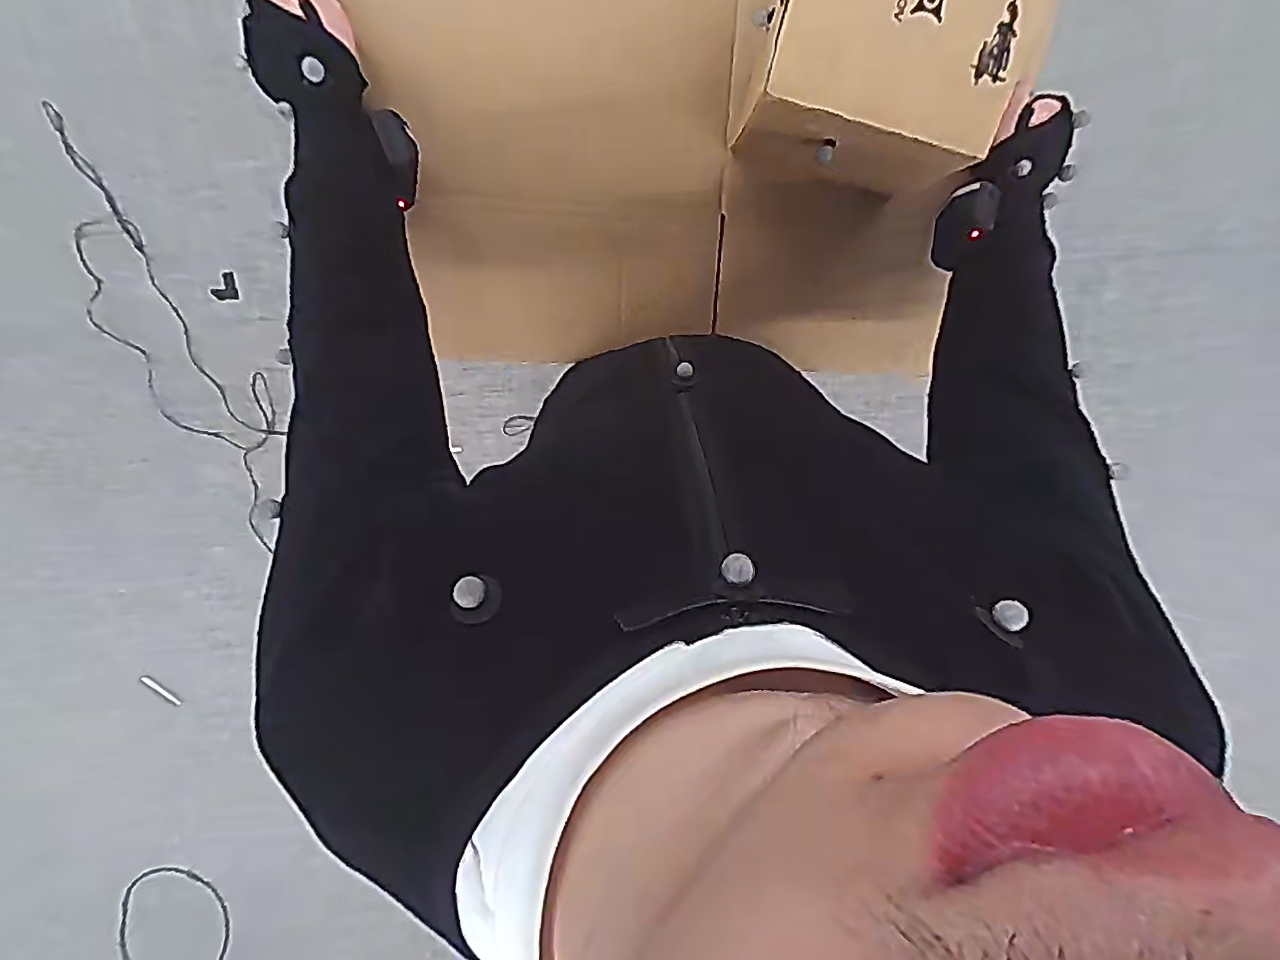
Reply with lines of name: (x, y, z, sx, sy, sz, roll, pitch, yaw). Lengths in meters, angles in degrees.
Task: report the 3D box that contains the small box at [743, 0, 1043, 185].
small box: (0.197, -0.367, 0.452, 0.179, 0.176, 0.168, 14, 109, -2)
